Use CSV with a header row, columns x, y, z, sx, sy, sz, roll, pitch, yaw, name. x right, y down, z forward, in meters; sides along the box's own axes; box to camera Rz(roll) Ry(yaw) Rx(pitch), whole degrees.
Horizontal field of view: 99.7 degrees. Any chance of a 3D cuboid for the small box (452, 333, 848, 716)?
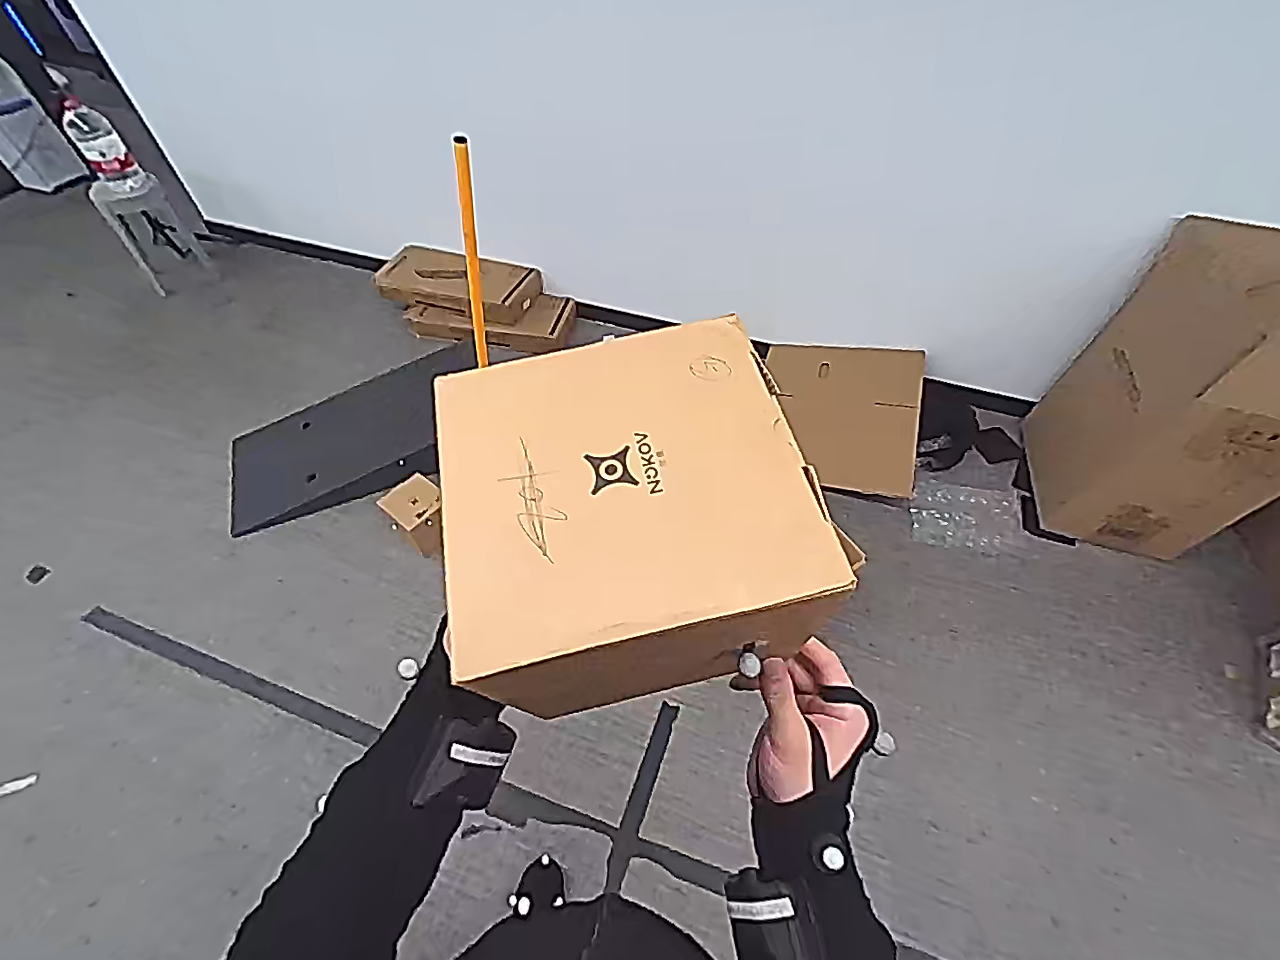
x,y,z,sx,sy,sz,roll,pitch,yaw,name
-0.001,0.039,0.345,0.179,0.176,0.168,-14,60,-2,small box
